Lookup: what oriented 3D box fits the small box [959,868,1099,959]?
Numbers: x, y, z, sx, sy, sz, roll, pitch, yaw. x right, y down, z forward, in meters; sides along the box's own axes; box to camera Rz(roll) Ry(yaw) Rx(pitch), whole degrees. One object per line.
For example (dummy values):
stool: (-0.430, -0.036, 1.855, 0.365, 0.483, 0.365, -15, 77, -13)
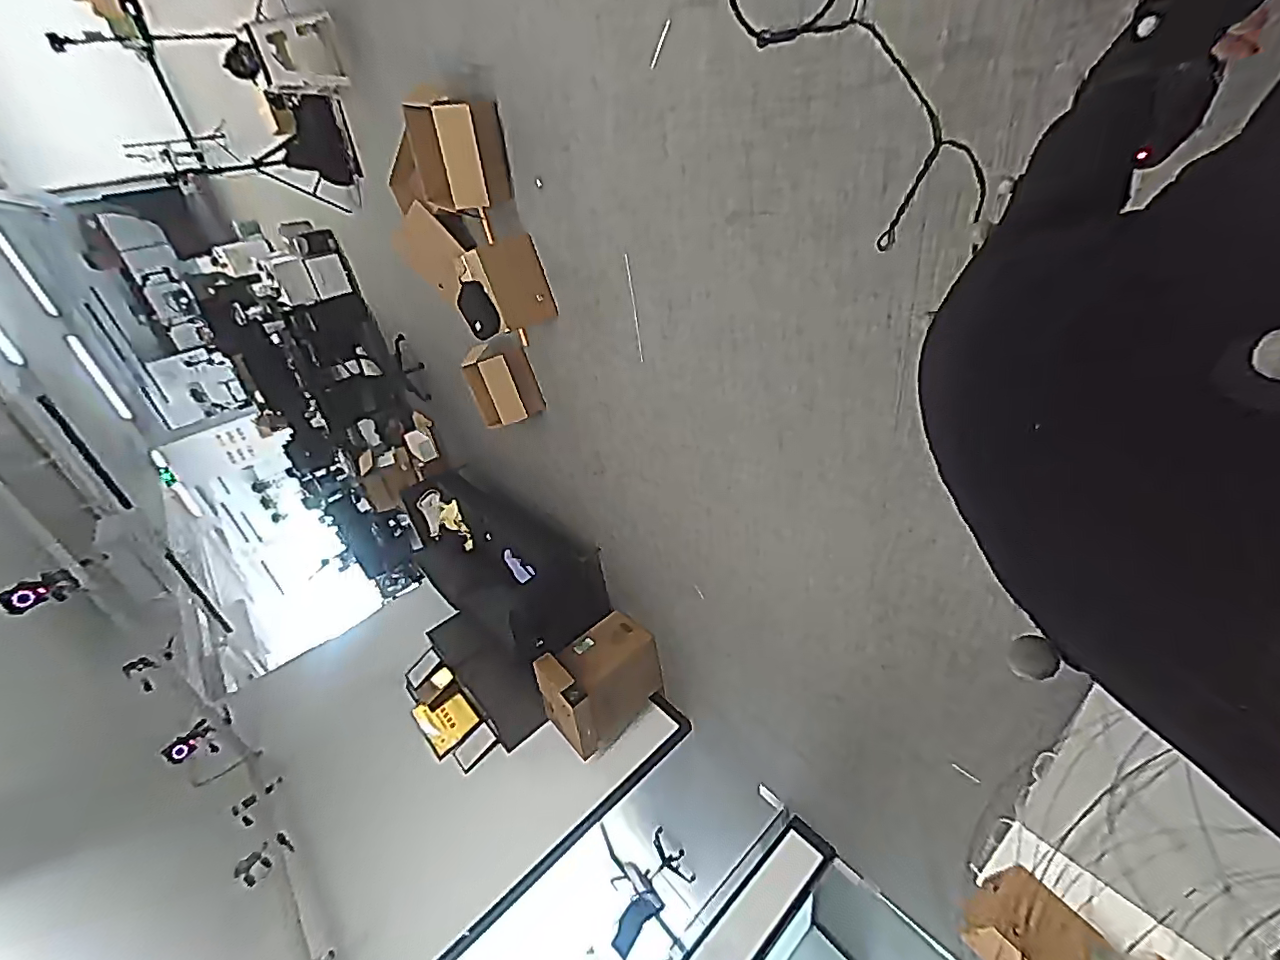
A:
small box: (0.869, 1.024, 1.210, 0.179, 0.176, 0.168, 39, 144, 31)
